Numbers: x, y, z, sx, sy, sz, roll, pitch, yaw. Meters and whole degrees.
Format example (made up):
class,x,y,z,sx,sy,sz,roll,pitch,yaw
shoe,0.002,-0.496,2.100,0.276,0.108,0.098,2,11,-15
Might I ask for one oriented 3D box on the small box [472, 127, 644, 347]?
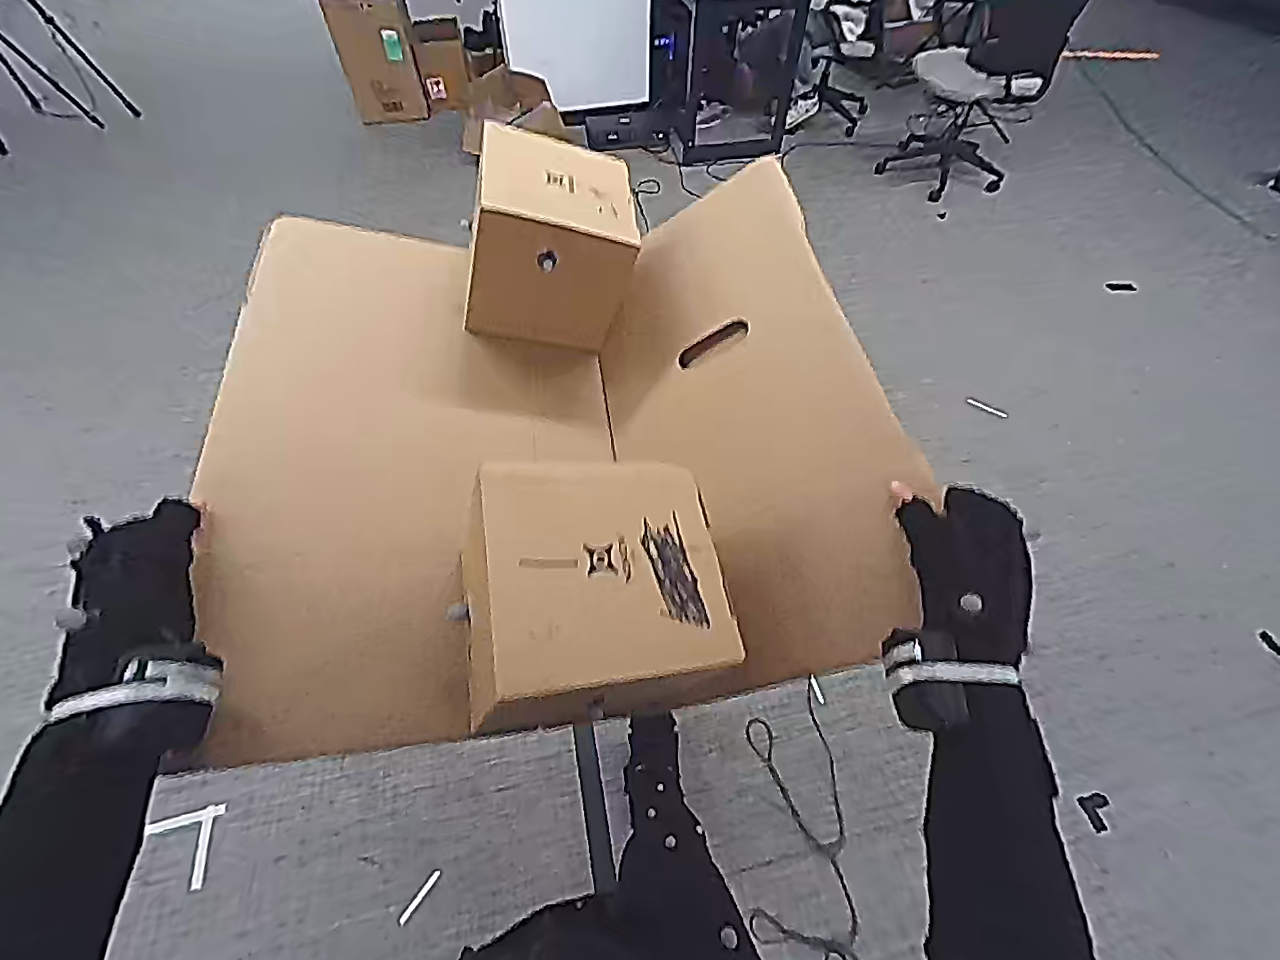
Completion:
class,x,y,z,sx,sy,sz,roll,pitch,yaw
small box,-0.111,-0.290,0.675,0.179,0.176,0.168,6,57,-21
